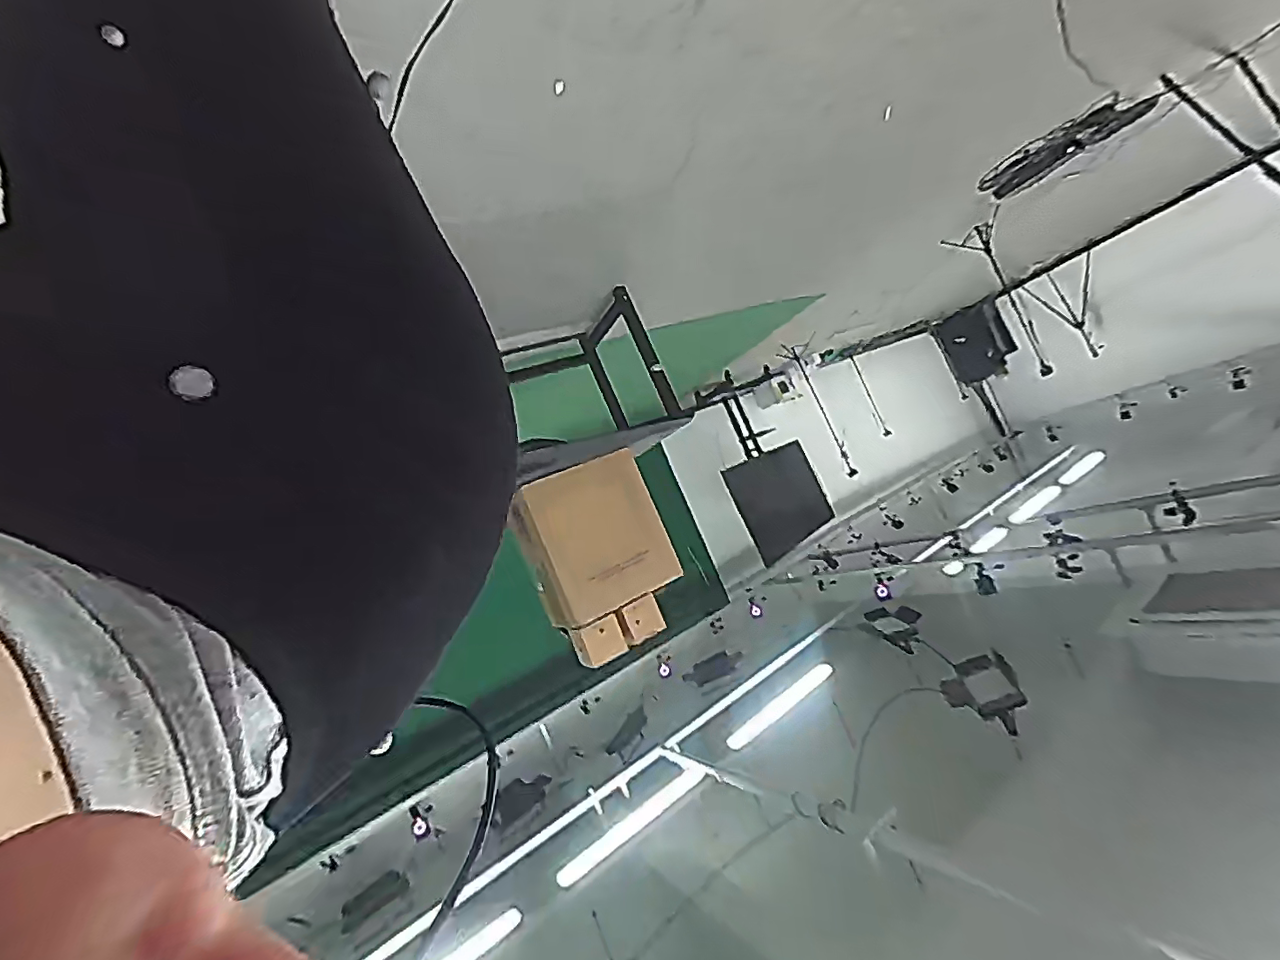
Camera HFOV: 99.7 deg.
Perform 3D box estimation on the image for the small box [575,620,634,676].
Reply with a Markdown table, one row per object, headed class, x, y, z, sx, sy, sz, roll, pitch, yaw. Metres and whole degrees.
| class | x | y | z | sx | sy | sz | roll | pitch | yaw |
| --- | --- | --- | --- | --- | --- | --- | --- | --- | --- |
| small box | -0.154 | 0.695 | 2.254 | 0.168 | 0.176 | 0.179 | -21 | 174 | -26 |
